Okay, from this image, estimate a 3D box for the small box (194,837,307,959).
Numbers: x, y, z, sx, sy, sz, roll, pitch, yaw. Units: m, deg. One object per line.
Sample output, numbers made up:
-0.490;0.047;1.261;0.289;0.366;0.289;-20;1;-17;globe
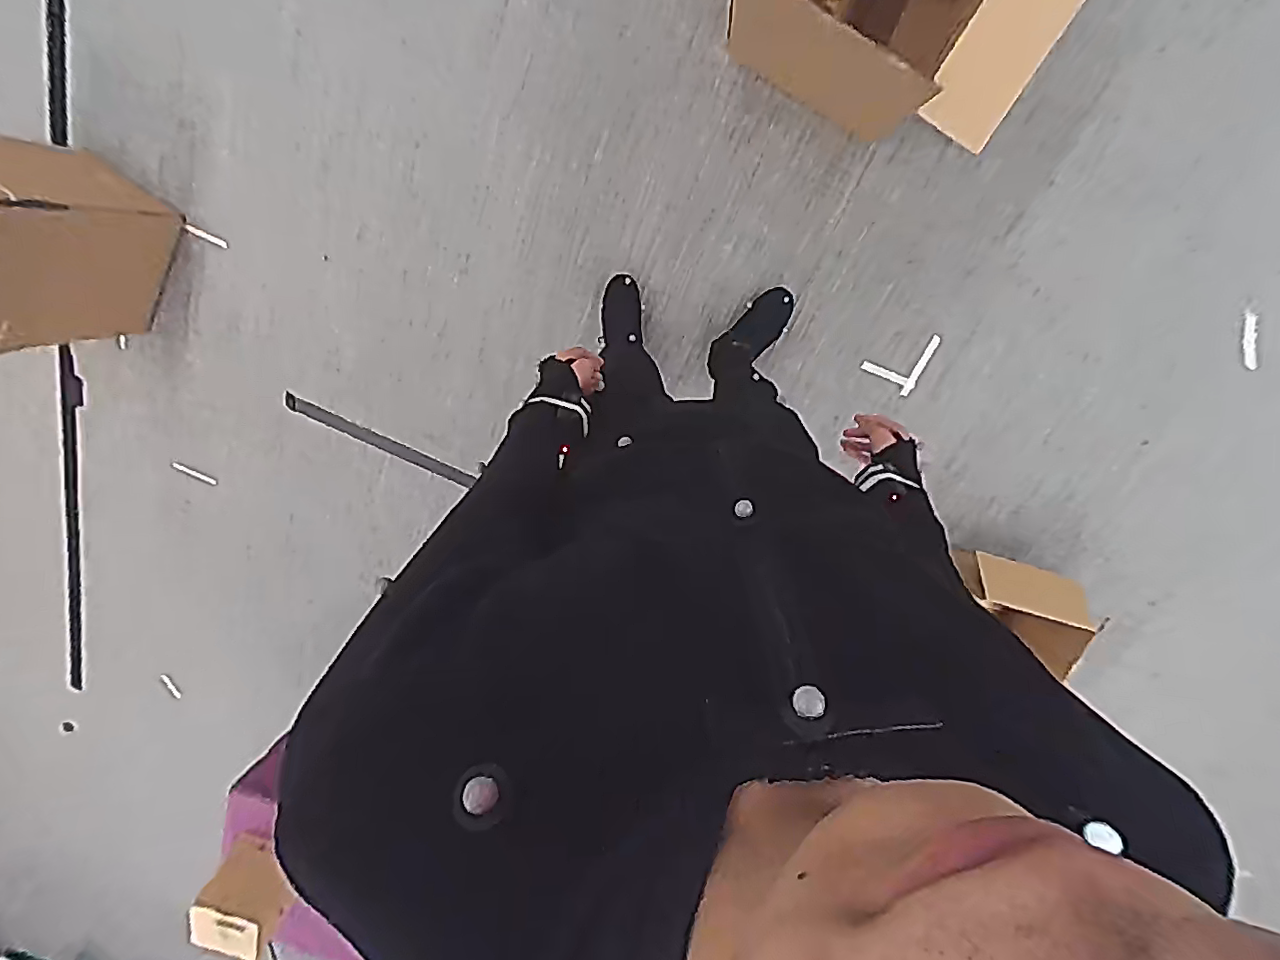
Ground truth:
-0.963;1.037;1.348;0.168;0.176;0.179;19;114;-2;small box
